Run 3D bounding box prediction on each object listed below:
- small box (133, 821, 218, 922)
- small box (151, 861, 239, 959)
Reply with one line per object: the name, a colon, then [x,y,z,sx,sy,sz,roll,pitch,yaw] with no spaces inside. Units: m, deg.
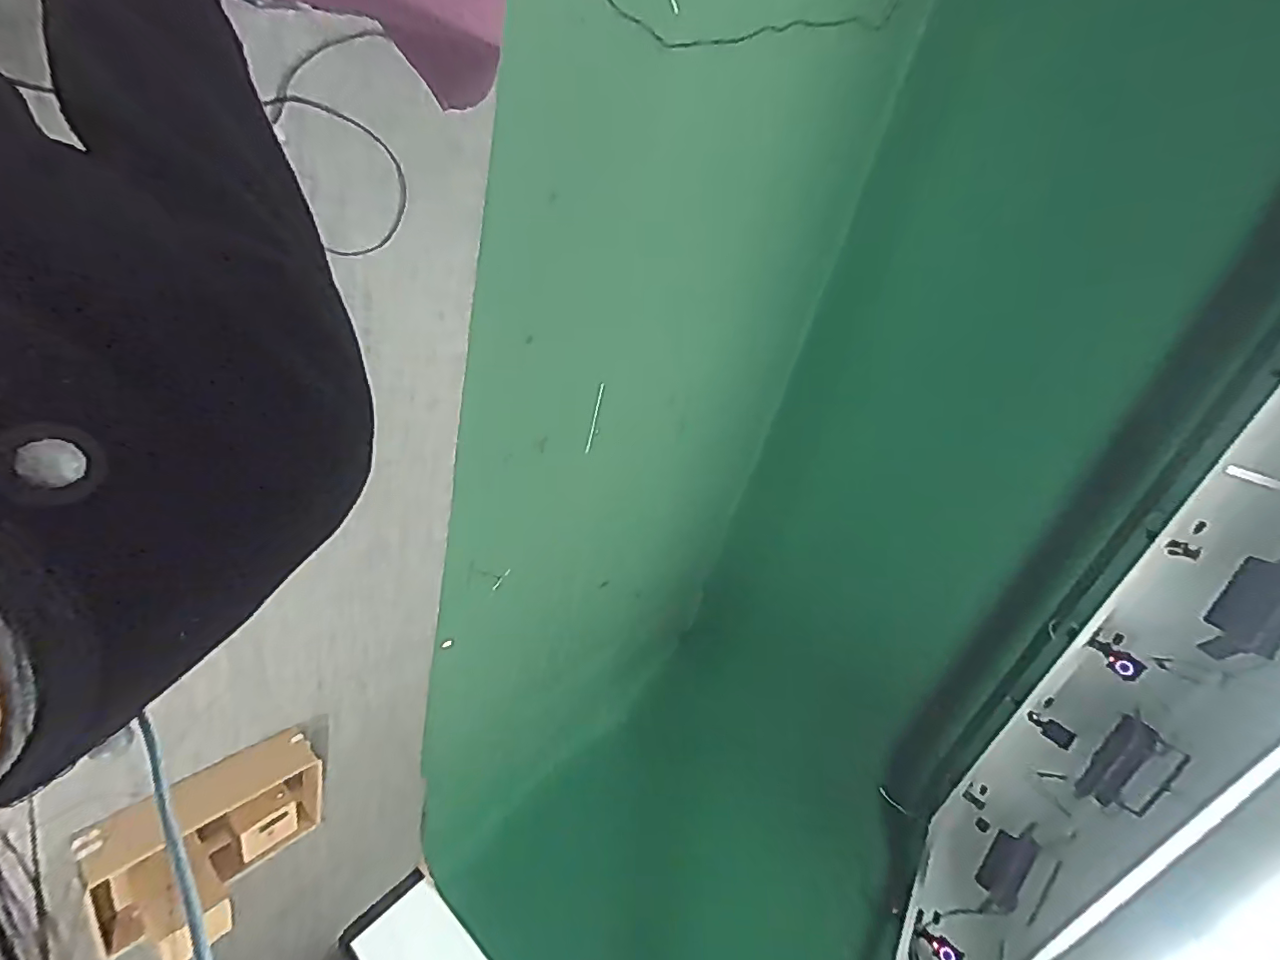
small box: [-1.467,1.236,1.713,0.168,0.176,0.179,-19,131,-53]
small box: [-1.342,1.303,1.632,0.168,0.176,0.179,-17,130,-52]
